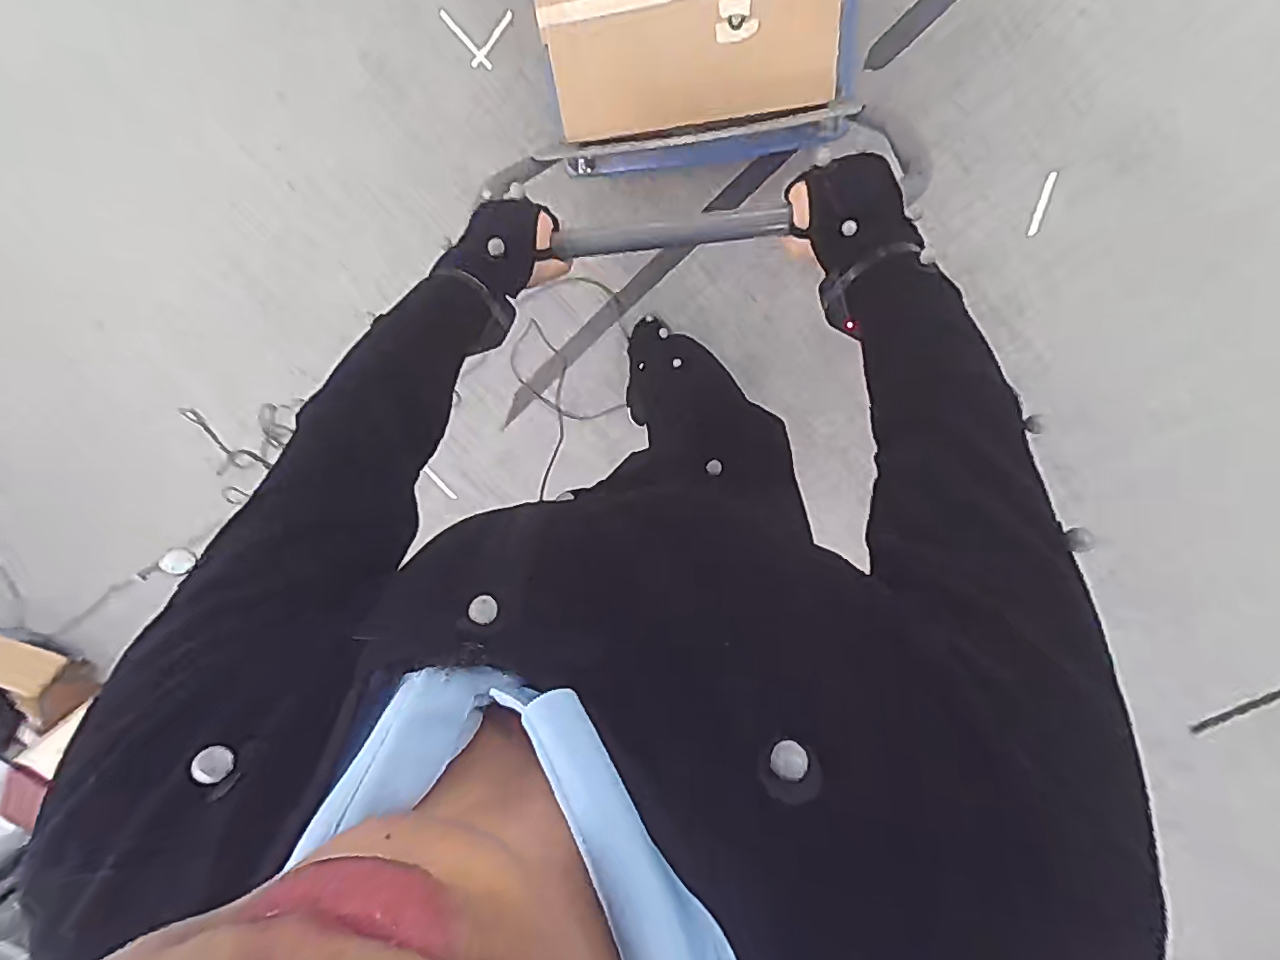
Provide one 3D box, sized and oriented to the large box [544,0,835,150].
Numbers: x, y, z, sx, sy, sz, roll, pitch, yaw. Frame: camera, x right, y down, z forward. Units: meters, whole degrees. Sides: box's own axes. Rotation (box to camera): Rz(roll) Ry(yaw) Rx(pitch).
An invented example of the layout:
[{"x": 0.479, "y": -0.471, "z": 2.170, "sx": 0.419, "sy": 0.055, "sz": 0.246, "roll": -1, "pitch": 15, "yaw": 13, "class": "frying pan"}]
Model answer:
[{"x": 0.079, "y": -0.748, "z": 0.867, "sx": 0.408, "sy": 0.320, "sz": 0.320, "roll": -4, "pitch": 124, "yaw": 10, "class": "large box"}]
